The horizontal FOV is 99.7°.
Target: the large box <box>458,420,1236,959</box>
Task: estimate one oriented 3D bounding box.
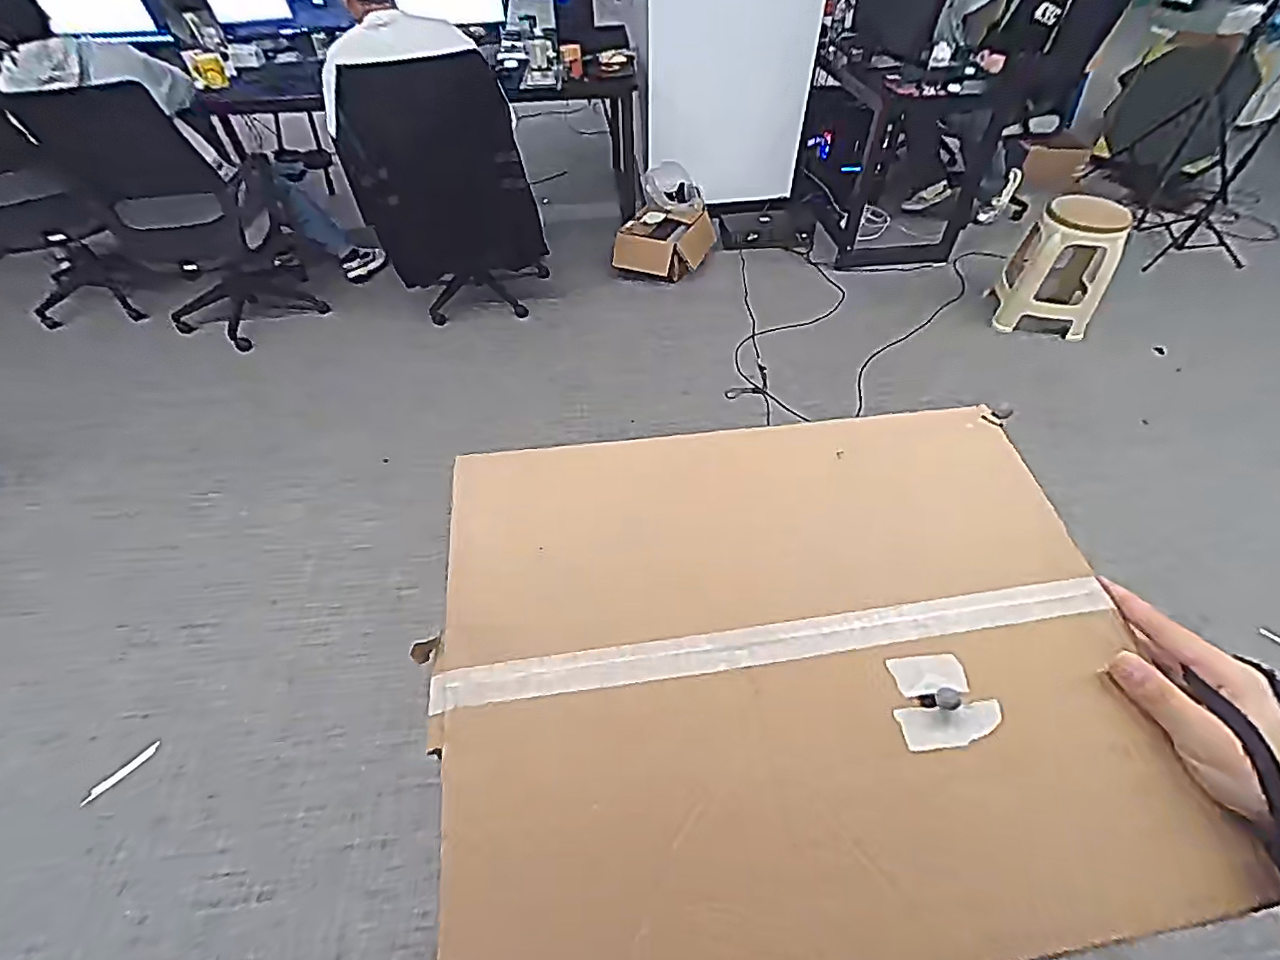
[{"bbox_3d":[0.083,0.181,0.456,0.408,0.320,0.320,-6,59,-7],"label":"large box"}]
